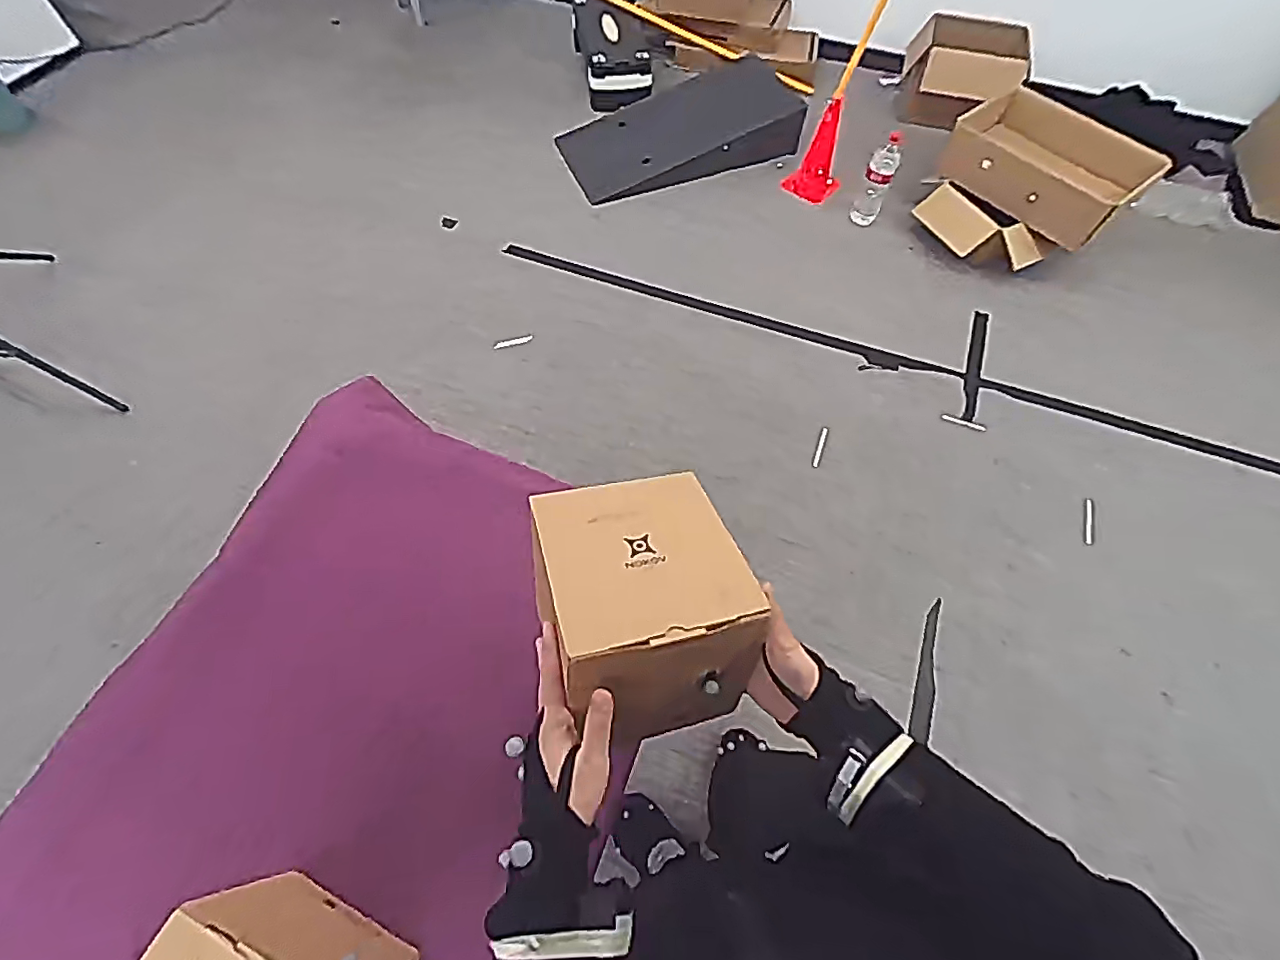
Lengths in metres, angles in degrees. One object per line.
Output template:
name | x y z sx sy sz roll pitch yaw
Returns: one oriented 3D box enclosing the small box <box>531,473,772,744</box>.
small box | -0.003 0.120 0.506 0.168 0.176 0.179 -8 42 -17
